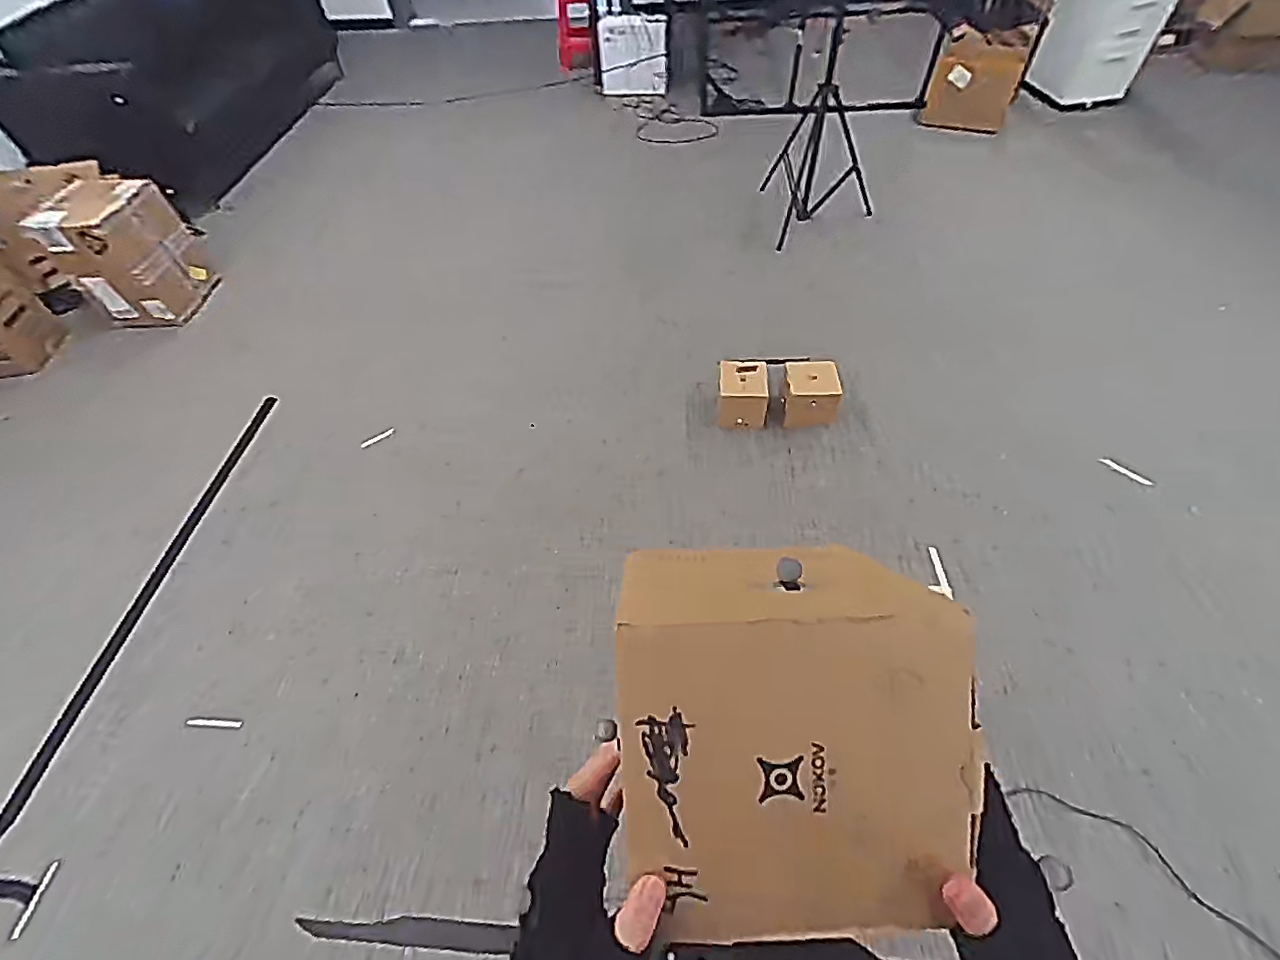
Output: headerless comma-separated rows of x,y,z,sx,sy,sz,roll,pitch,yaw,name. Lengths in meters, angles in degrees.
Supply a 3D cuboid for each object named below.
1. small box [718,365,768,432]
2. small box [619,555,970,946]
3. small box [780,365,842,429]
0.370,-0.296,1.967,0.168,0.176,0.179,2,55,6,small box
0.077,0.145,0.348,0.179,0.176,0.168,-2,93,0,small box
0.608,-0.297,1.952,0.179,0.176,0.168,0,55,3,small box
